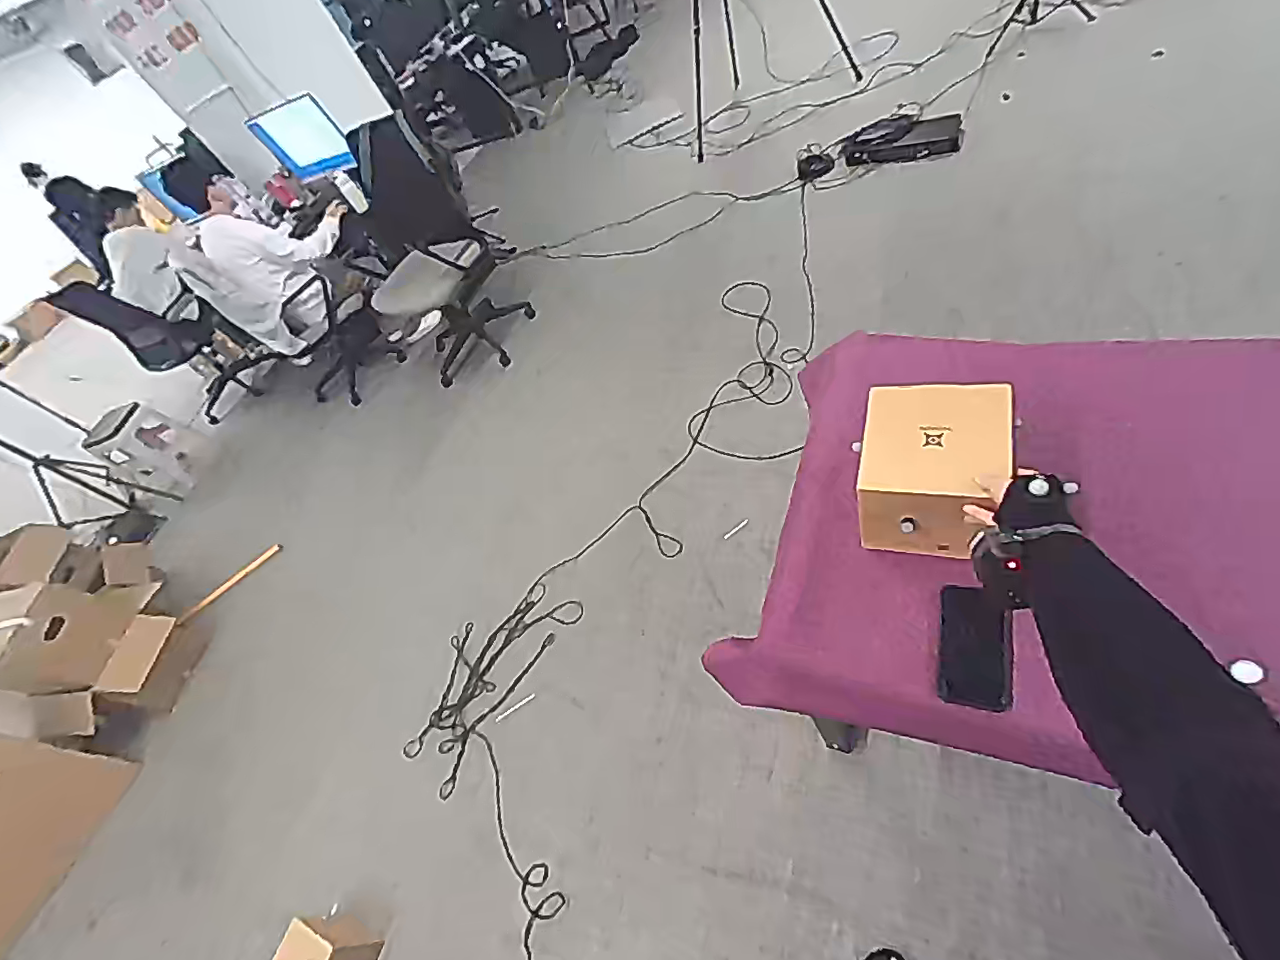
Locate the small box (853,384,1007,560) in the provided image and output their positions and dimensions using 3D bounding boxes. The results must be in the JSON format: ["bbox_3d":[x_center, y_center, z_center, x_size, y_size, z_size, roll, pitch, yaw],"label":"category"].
[{"bbox_3d":[0.395,-0.008,0.737,0.168,0.176,0.179,3,56,28],"label":"small box"}]
